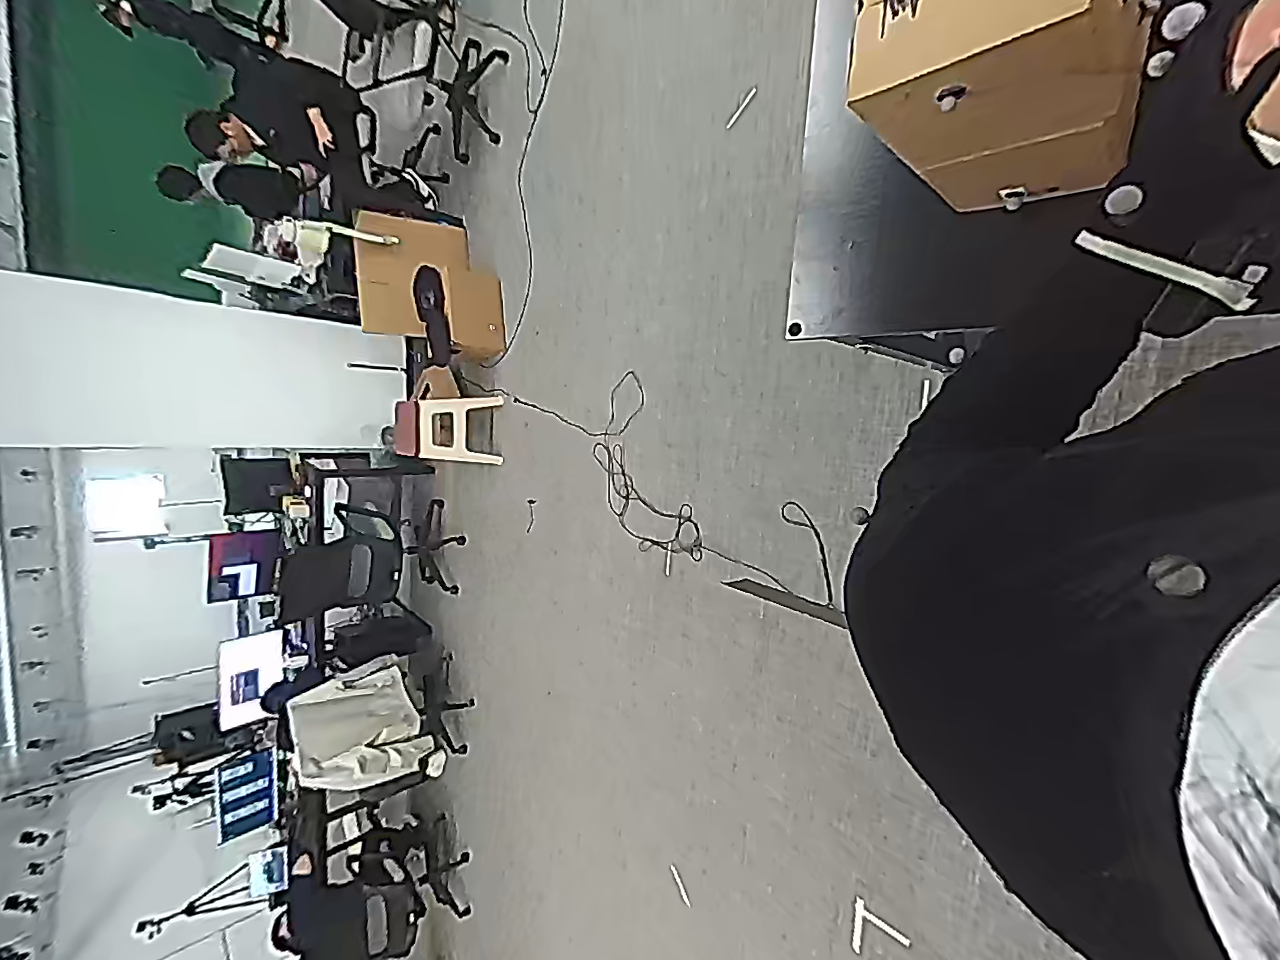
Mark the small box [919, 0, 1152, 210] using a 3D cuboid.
[{"bbox_3d":[0.431,-0.424,0.589,0.168,0.176,0.179,11,101,47],"label":"small box"}]

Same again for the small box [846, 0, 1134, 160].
[{"bbox_3d":[0.310,-0.416,0.477,0.179,0.176,0.168,10,99,46],"label":"small box"}]
